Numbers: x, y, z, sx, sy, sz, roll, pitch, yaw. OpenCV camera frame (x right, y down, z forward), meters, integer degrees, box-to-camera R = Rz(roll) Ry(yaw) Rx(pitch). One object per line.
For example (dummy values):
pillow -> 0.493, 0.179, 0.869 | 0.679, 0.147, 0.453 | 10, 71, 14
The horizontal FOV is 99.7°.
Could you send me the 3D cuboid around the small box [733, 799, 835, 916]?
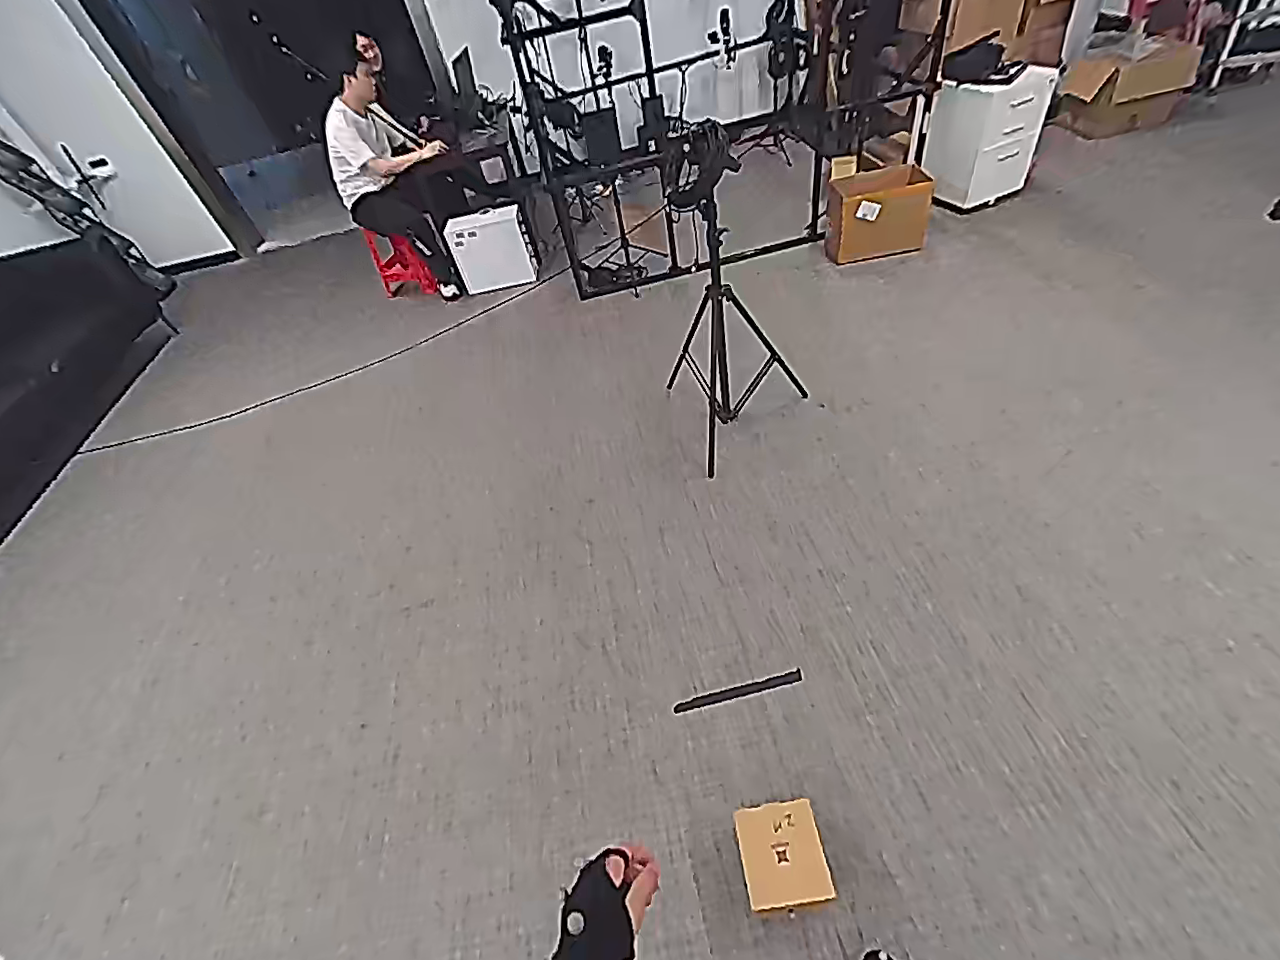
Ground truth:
small box -> 0.300, 0.806, 1.149 | 0.168, 0.176, 0.179 | -11, 45, 3
